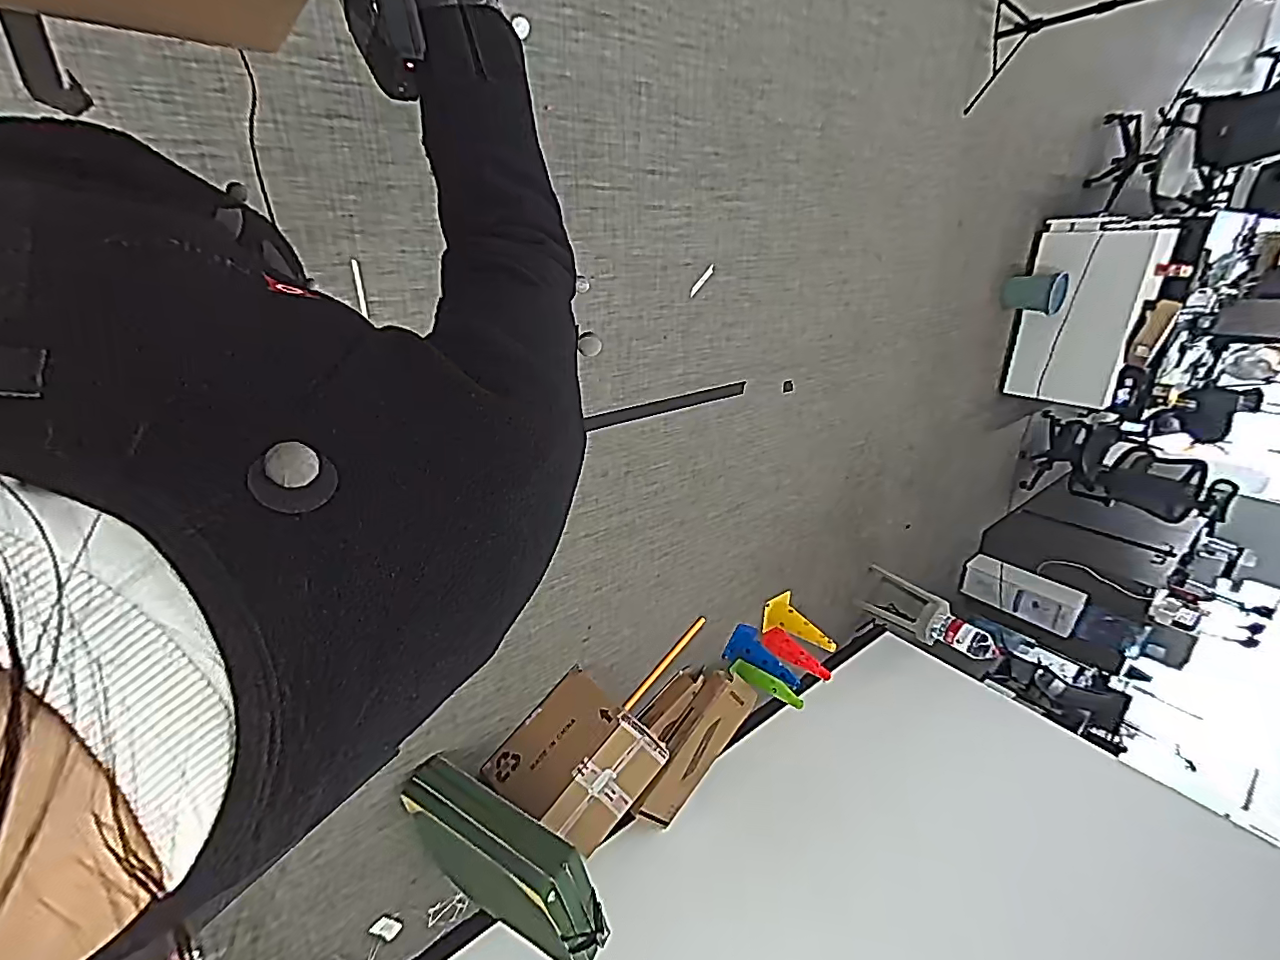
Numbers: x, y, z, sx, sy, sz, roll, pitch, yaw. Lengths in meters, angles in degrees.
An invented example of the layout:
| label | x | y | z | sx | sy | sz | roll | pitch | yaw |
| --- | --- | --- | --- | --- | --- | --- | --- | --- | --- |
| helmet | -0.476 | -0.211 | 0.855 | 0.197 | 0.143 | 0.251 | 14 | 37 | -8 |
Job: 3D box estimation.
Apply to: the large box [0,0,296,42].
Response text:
| label | x | y | z | sx | sy | sz | roll | pitch | yaw |
| --- | --- | --- | --- | --- | --- | --- | --- | --- | --- |
| large box | -0.412 | -0.446 | 0.235 | 0.408 | 0.320 | 0.320 | -18 | 123 | -34 |
